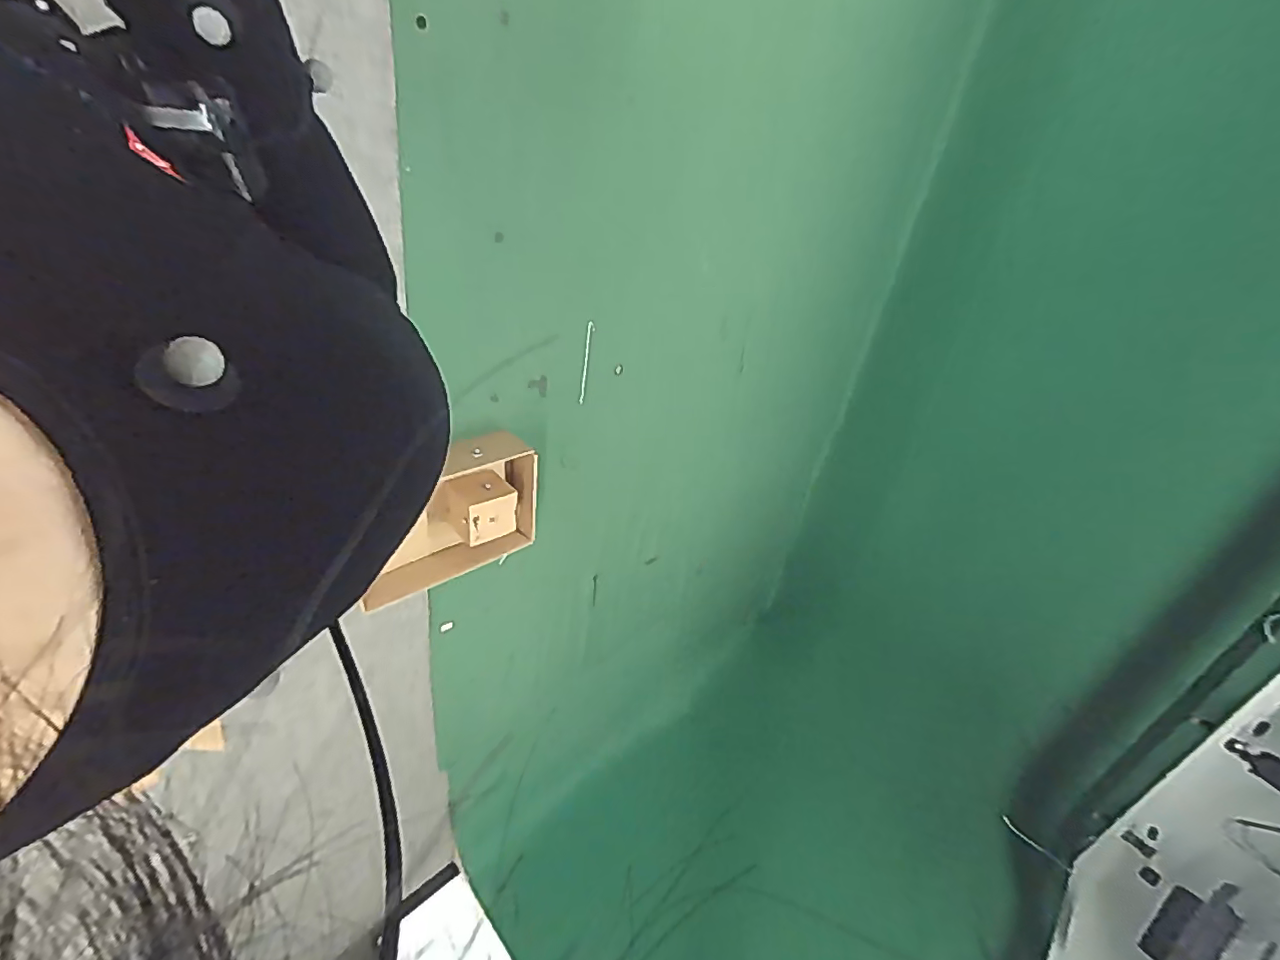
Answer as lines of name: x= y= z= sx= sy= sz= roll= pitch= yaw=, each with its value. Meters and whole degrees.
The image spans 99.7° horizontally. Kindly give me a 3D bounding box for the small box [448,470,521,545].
small box: x=-0.522 y=0.084 z=1.811 sx=0.179 sy=0.176 sz=0.168 roll=-20 pitch=133 yaw=-39
